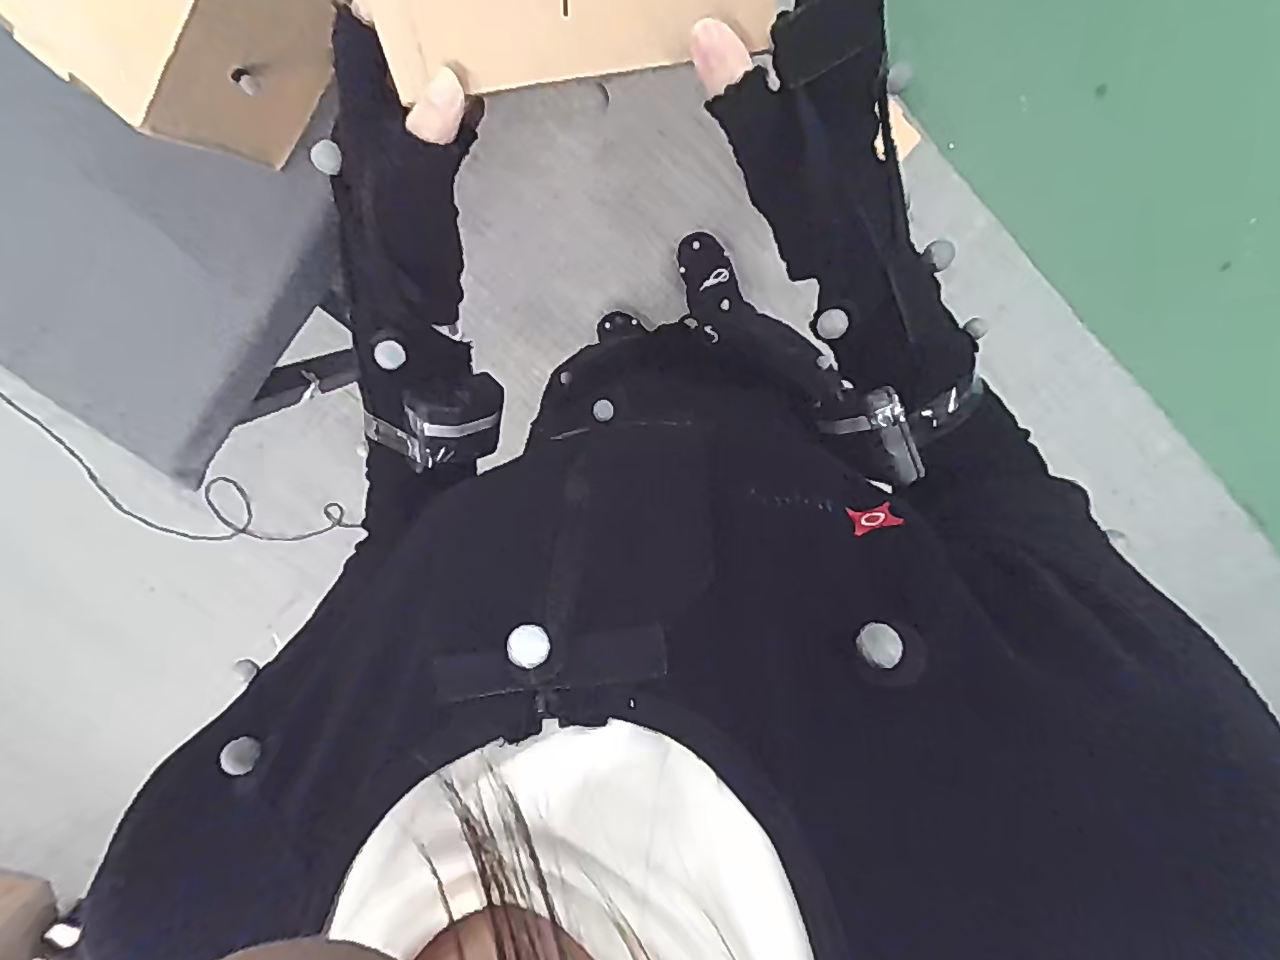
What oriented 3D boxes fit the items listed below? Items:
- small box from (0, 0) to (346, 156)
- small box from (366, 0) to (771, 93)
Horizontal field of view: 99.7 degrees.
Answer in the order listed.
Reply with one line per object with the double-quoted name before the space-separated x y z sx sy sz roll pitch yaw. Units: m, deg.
"small box" -0.393 -0.416 0.456 0.168 0.176 0.179 40 107 -11
"small box" -0.032 -0.290 0.246 0.168 0.176 0.179 -3 127 4
